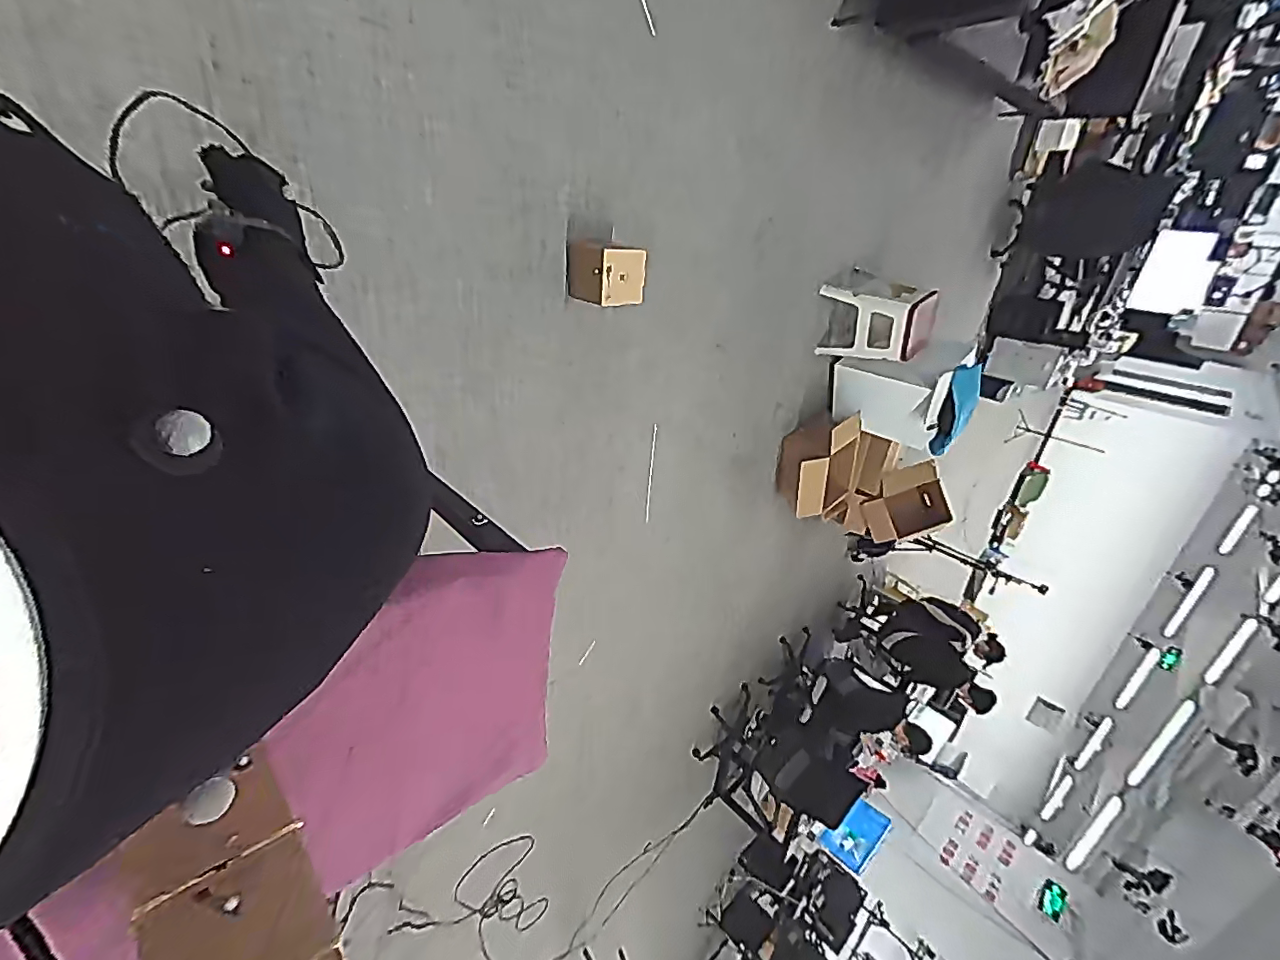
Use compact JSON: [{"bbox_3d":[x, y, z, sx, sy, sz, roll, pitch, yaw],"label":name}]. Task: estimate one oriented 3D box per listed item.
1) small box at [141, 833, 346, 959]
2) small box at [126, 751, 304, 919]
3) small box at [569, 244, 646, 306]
[{"bbox_3d":[-0.461,0.579,0.645,0.168,0.176,0.179,-16,123,-42],"label":"small box"},{"bbox_3d":[-0.573,0.511,0.743,0.168,0.176,0.179,-15,123,-42],"label":"small box"},{"bbox_3d":[-0.105,-0.655,1.721,0.179,0.176,0.168,-20,125,-40],"label":"small box"}]
